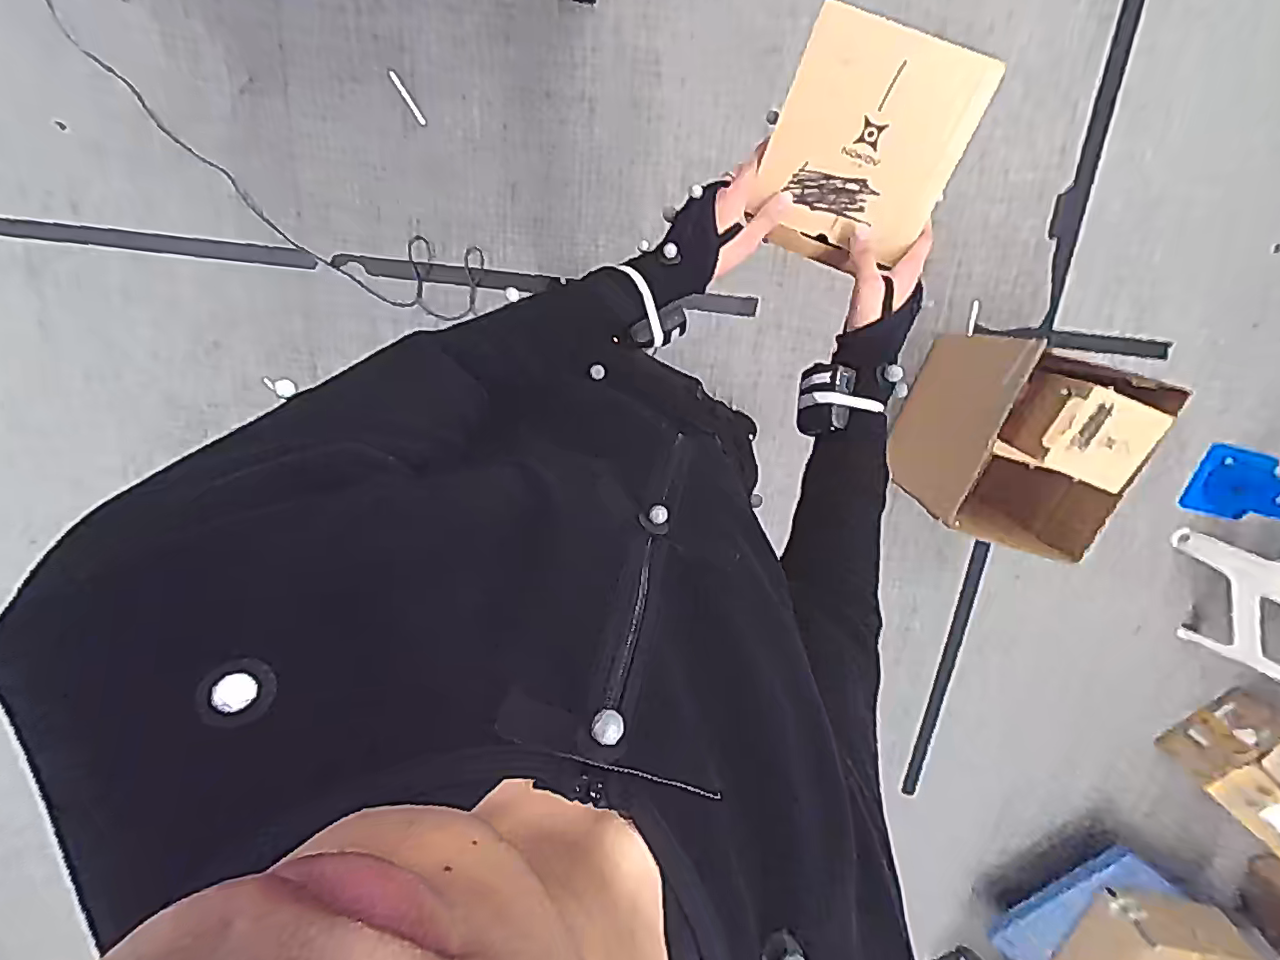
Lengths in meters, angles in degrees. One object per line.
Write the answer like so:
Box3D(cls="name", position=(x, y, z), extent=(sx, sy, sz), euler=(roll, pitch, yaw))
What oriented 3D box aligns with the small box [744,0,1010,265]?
Box3D(cls="small box", position=(0.218, -0.336, 0.551), extent=(0.168, 0.176, 0.179), euler=(21, 115, 2))
